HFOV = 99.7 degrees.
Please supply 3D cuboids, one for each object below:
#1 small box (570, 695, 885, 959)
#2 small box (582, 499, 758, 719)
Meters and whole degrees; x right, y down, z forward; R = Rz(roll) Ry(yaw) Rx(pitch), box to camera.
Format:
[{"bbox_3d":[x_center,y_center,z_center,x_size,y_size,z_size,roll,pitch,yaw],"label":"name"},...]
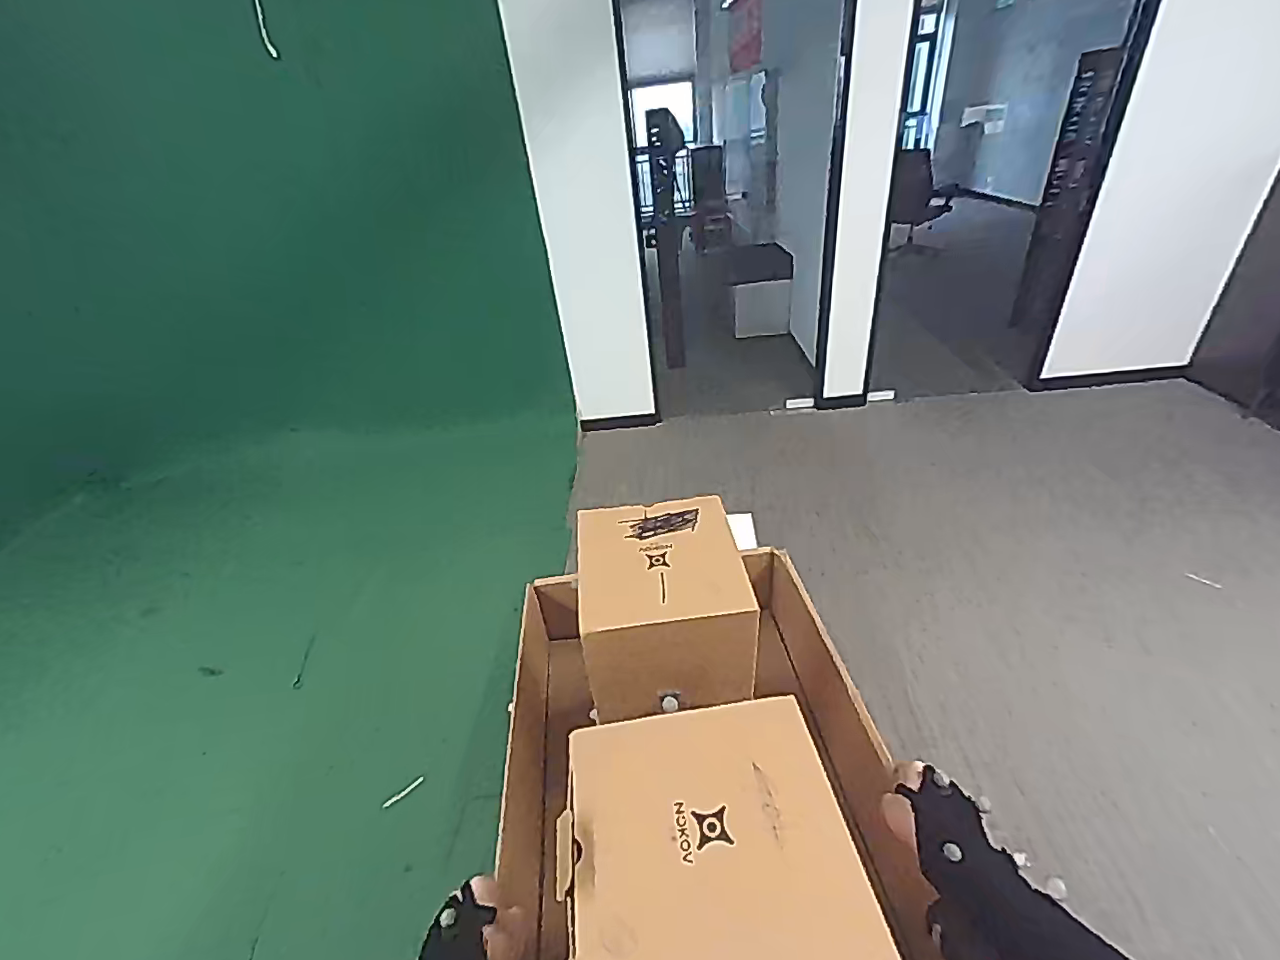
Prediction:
[{"bbox_3d":[0.048,0.291,0.399,0.179,0.176,0.168,-7,34,-3],"label":"small box"},{"bbox_3d":[0.026,0.145,0.608,0.168,0.176,0.179,-6,36,-2],"label":"small box"}]
